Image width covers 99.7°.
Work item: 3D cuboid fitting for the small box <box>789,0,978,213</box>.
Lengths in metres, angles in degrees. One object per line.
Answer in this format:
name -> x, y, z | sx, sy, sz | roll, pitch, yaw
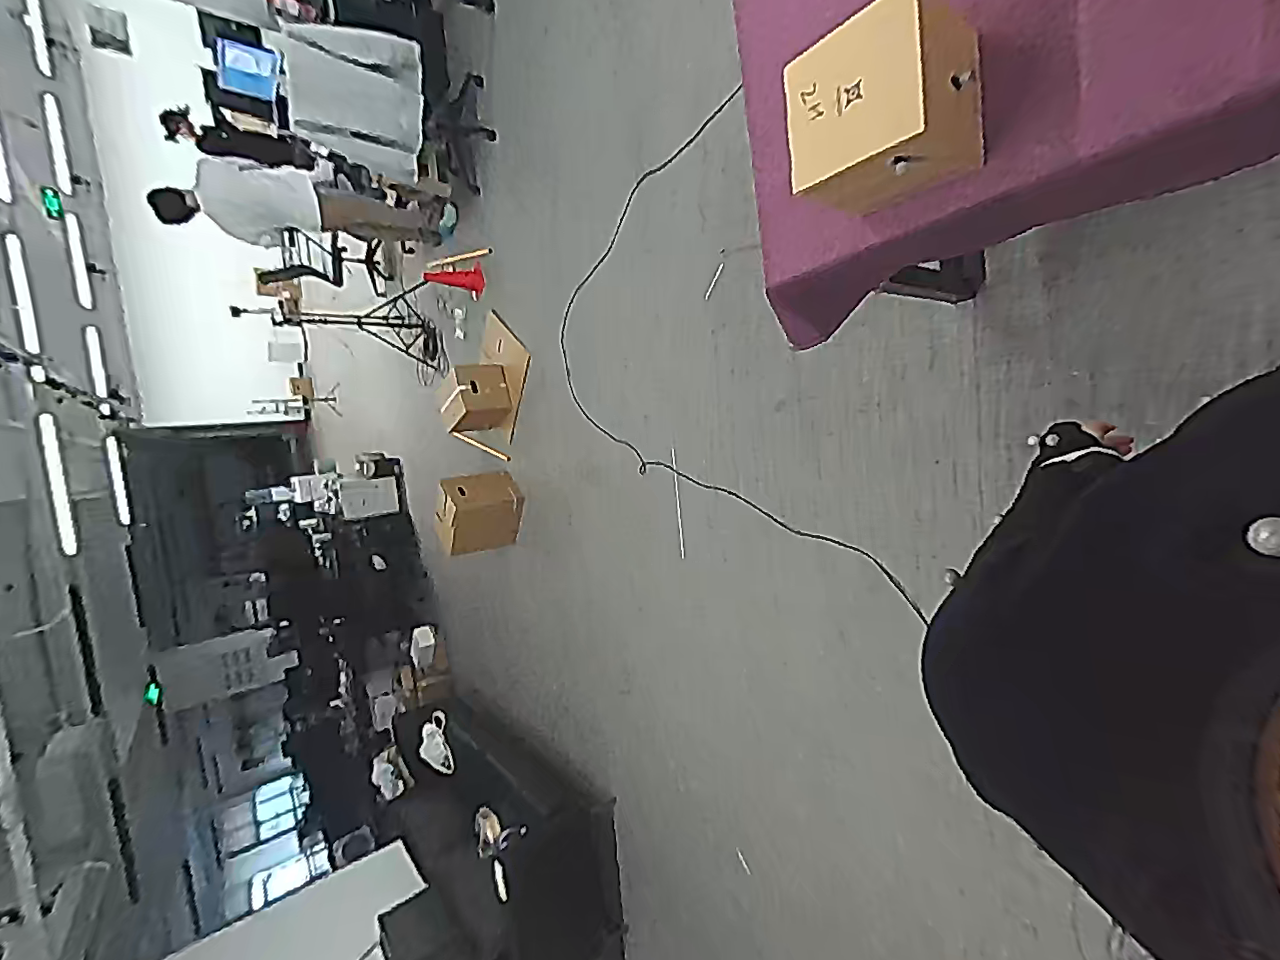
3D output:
small box -> 0.322, -0.476, 0.709 | 0.179, 0.176, 0.168 | 0, 97, 53
